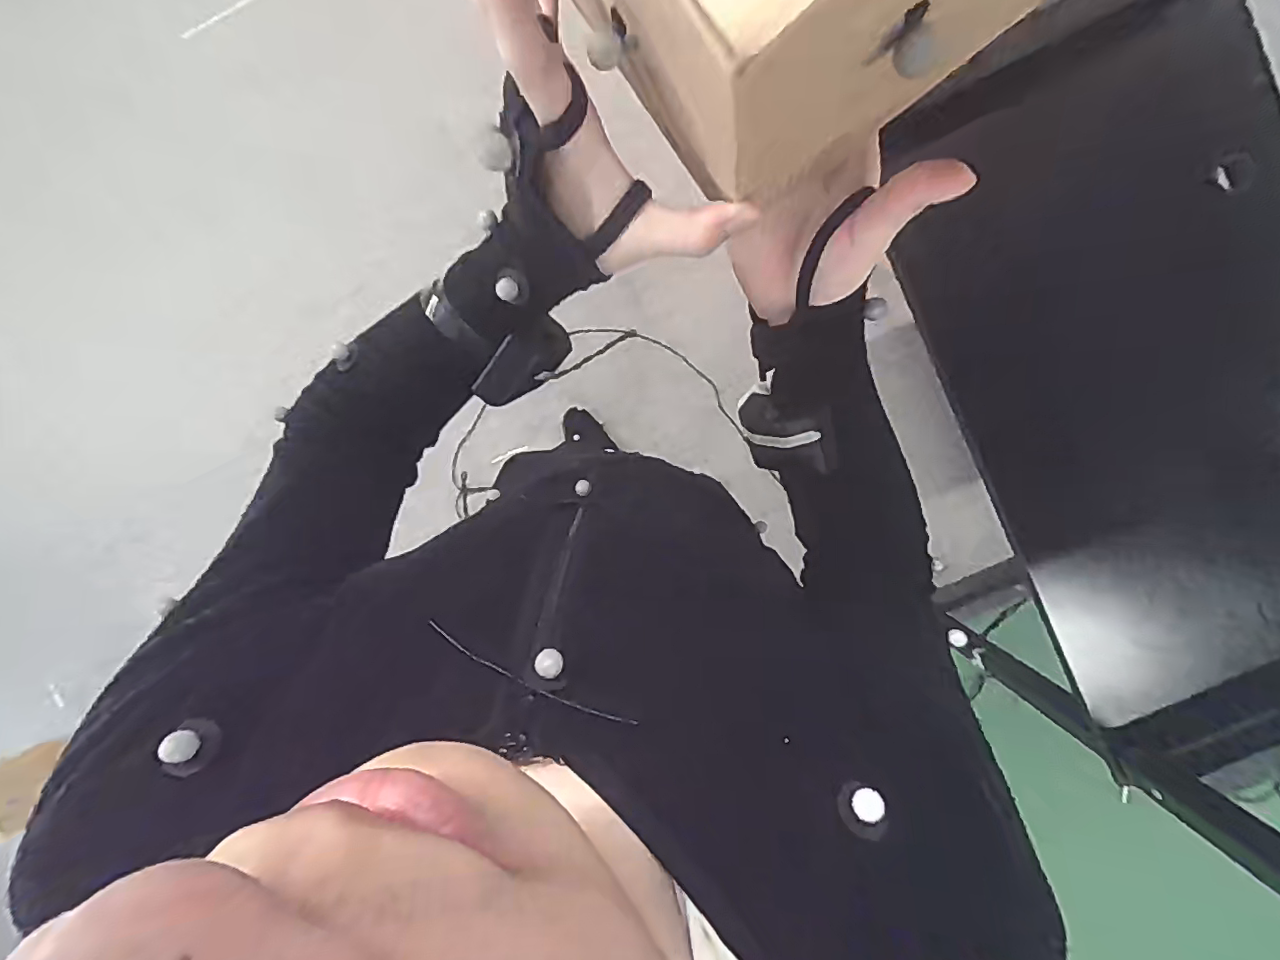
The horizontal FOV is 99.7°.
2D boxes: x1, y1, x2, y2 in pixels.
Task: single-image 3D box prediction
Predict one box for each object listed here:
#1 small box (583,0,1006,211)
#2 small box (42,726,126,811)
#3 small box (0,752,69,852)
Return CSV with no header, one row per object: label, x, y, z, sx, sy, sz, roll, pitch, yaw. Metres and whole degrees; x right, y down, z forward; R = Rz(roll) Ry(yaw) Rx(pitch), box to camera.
small box,0.058,-0.241,0.203,0.179,0.176,0.168,-35,92,14
small box,-1.617,0.830,1.526,0.179,0.176,0.168,-26,92,5
small box,-1.619,0.831,1.360,0.168,0.176,0.179,-24,92,4
